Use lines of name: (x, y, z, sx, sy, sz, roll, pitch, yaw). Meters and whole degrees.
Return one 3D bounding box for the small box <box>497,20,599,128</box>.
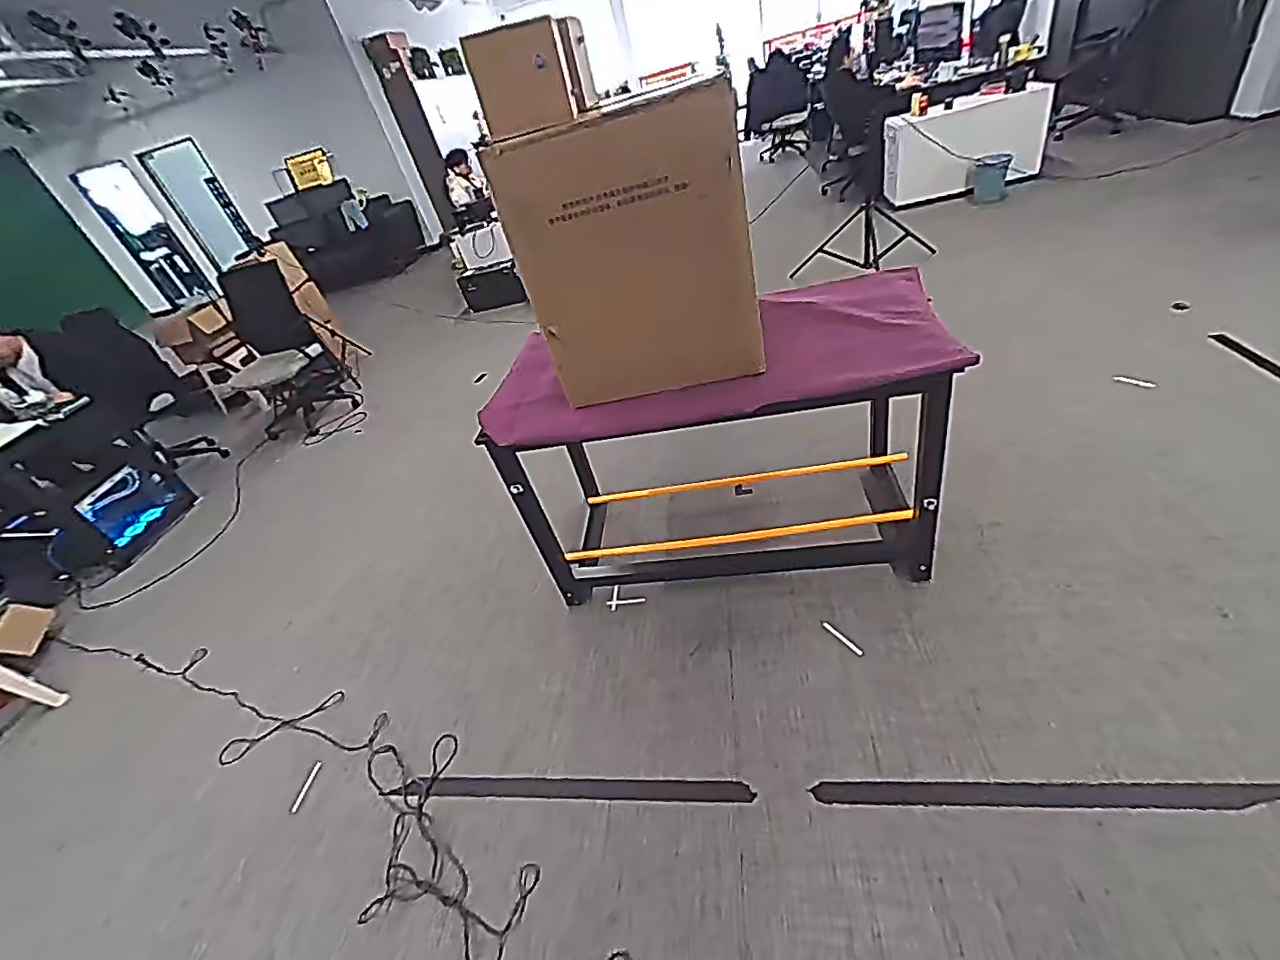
small box: (-0.203, -0.939, 1.259, 0.168, 0.176, 0.179, -6, 38, 13)
